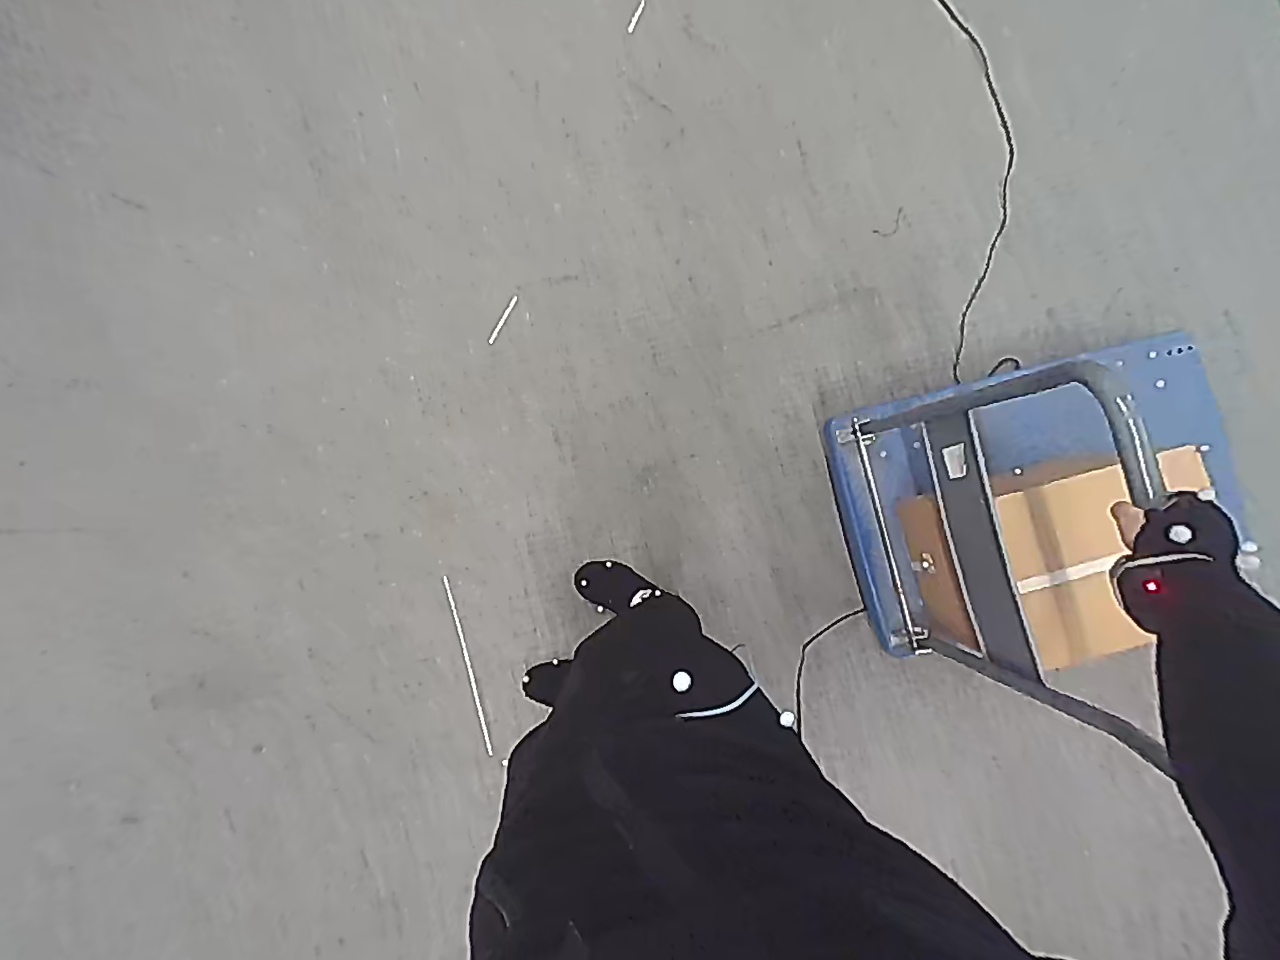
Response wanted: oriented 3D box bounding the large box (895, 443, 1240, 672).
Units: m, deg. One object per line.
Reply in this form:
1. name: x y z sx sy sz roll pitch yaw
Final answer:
1. large box: 0.811 0.141 1.090 0.408 0.320 0.320 -15 89 -1
